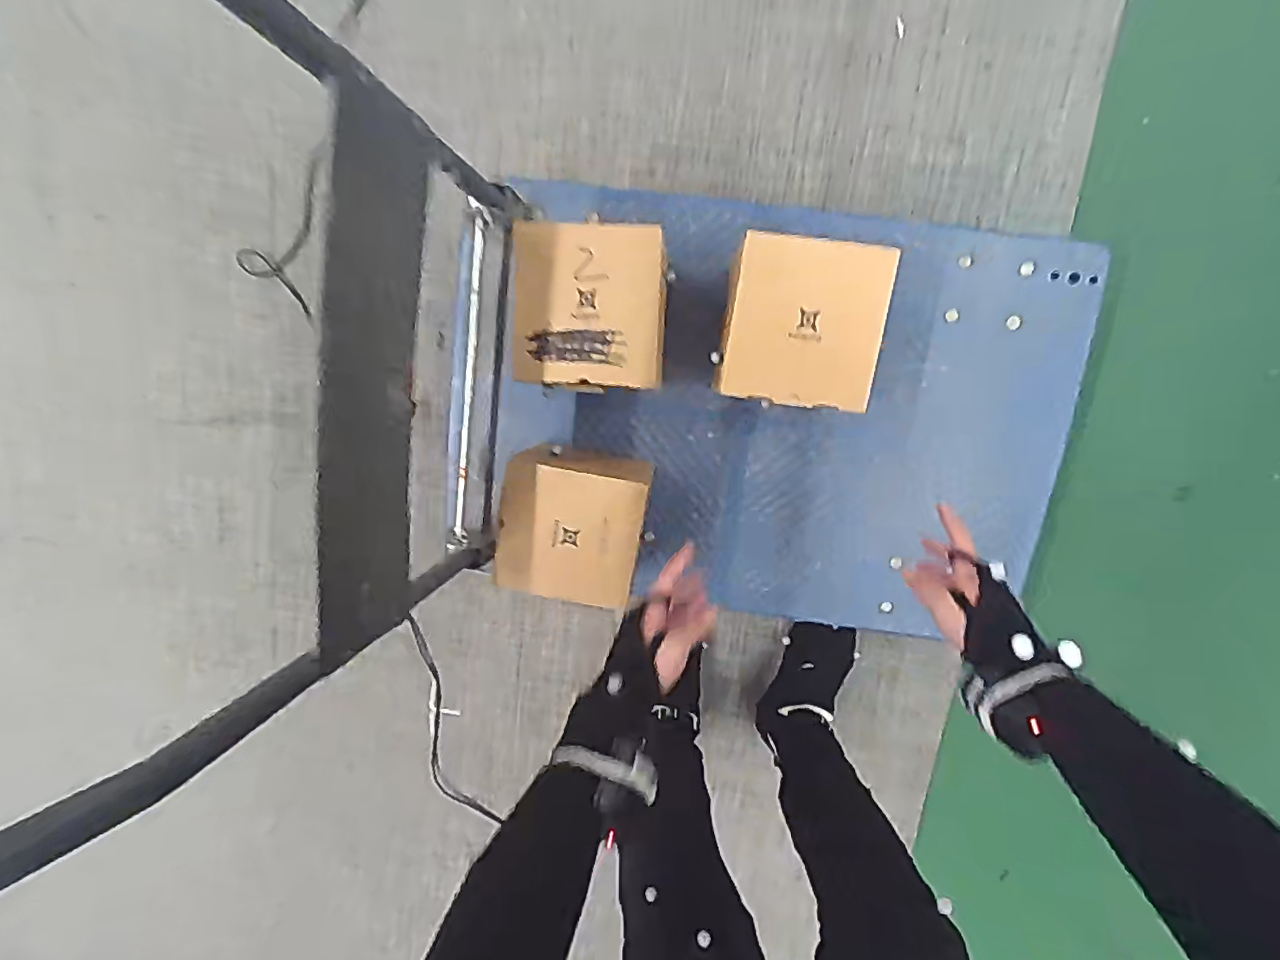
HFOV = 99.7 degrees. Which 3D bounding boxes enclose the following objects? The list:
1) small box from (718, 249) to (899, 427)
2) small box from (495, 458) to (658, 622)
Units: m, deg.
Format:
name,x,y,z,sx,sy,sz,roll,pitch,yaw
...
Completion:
name,x,y,z,sx,sy,sz,roll,pitch,yaw
small box,0.194,-0.171,0.680,0.168,0.176,0.179,8,102,3
small box,-0.077,0.069,0.739,0.179,0.176,0.168,11,100,2
